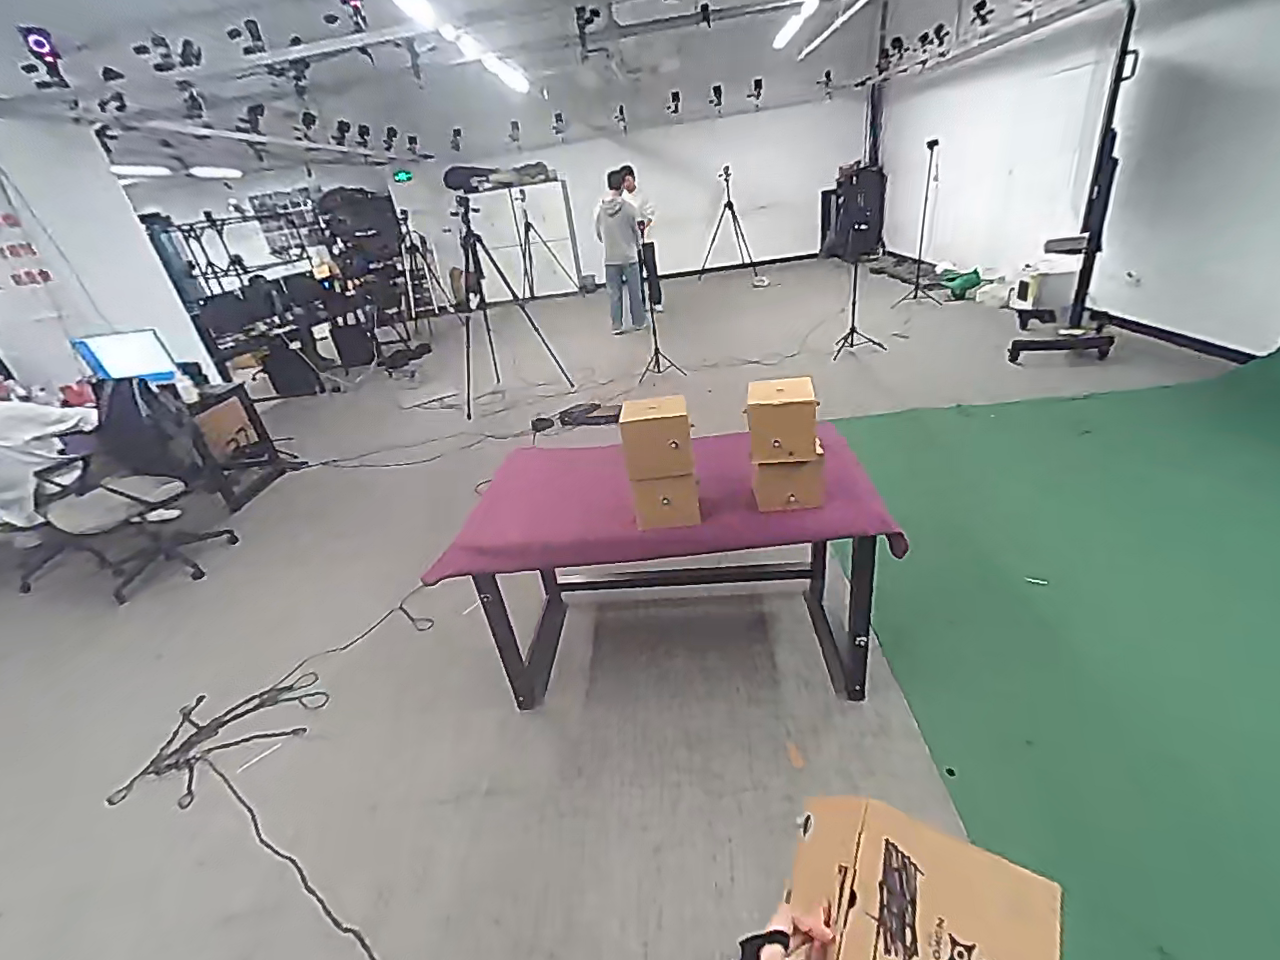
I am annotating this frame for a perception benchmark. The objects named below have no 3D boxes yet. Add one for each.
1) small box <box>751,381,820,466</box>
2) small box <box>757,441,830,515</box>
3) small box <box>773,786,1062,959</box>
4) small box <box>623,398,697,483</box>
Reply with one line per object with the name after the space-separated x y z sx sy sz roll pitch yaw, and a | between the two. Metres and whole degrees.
0.384 -0.149 1.430 0.168 0.176 0.179 -3 28 14 | small box
0.424 -0.016 1.518 0.179 0.176 0.168 -6 26 7 | small box
0.243 0.413 0.504 0.179 0.176 0.168 23 60 8 | small box
0.060 -0.105 1.447 0.179 0.176 0.168 -7 25 8 | small box
